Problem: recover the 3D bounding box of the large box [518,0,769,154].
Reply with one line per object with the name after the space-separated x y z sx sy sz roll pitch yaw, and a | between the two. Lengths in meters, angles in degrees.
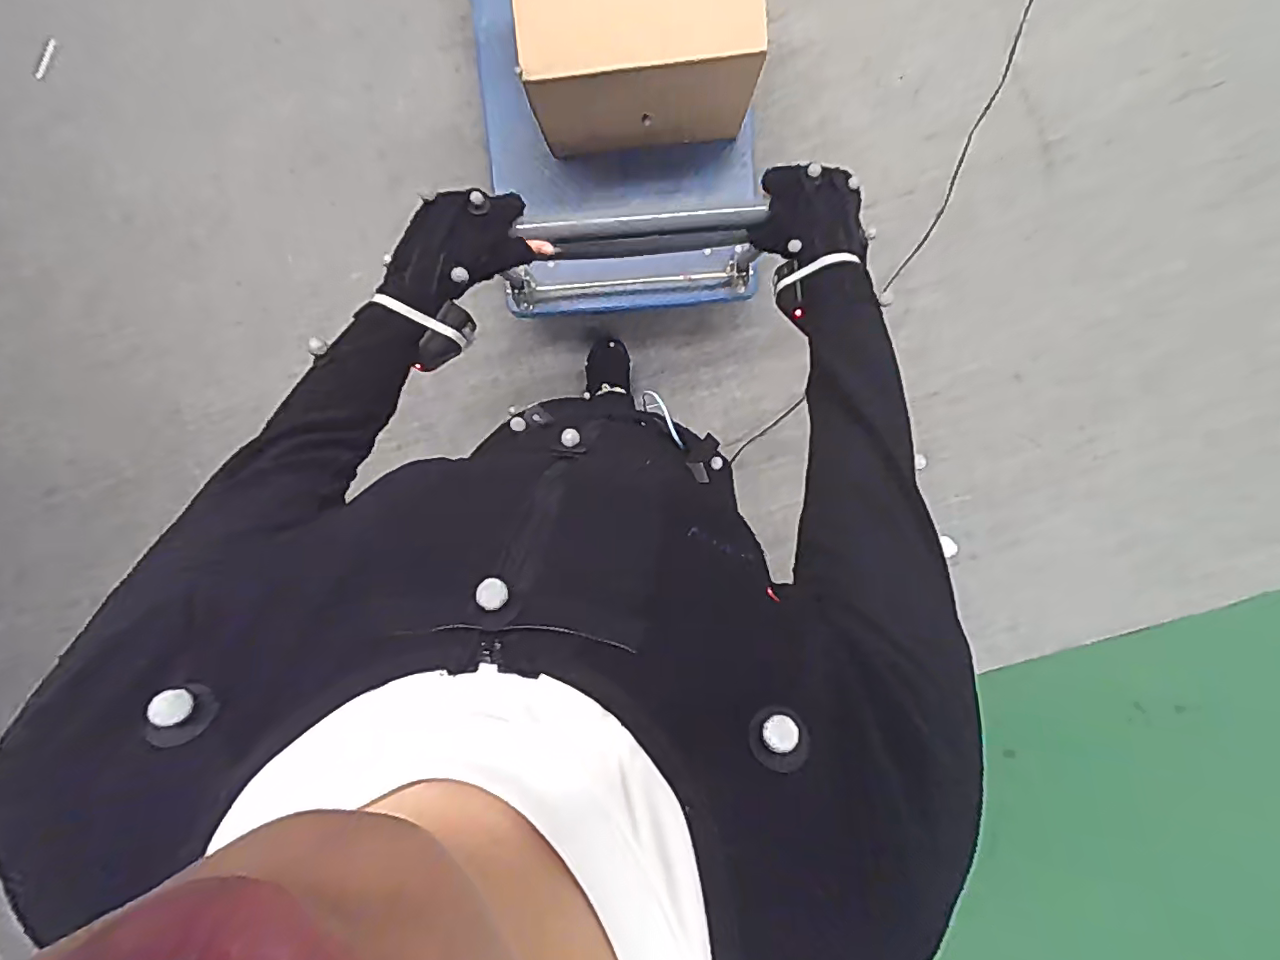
0.003 -0.853 1.004 0.408 0.320 0.320 -5 99 3 | large box
